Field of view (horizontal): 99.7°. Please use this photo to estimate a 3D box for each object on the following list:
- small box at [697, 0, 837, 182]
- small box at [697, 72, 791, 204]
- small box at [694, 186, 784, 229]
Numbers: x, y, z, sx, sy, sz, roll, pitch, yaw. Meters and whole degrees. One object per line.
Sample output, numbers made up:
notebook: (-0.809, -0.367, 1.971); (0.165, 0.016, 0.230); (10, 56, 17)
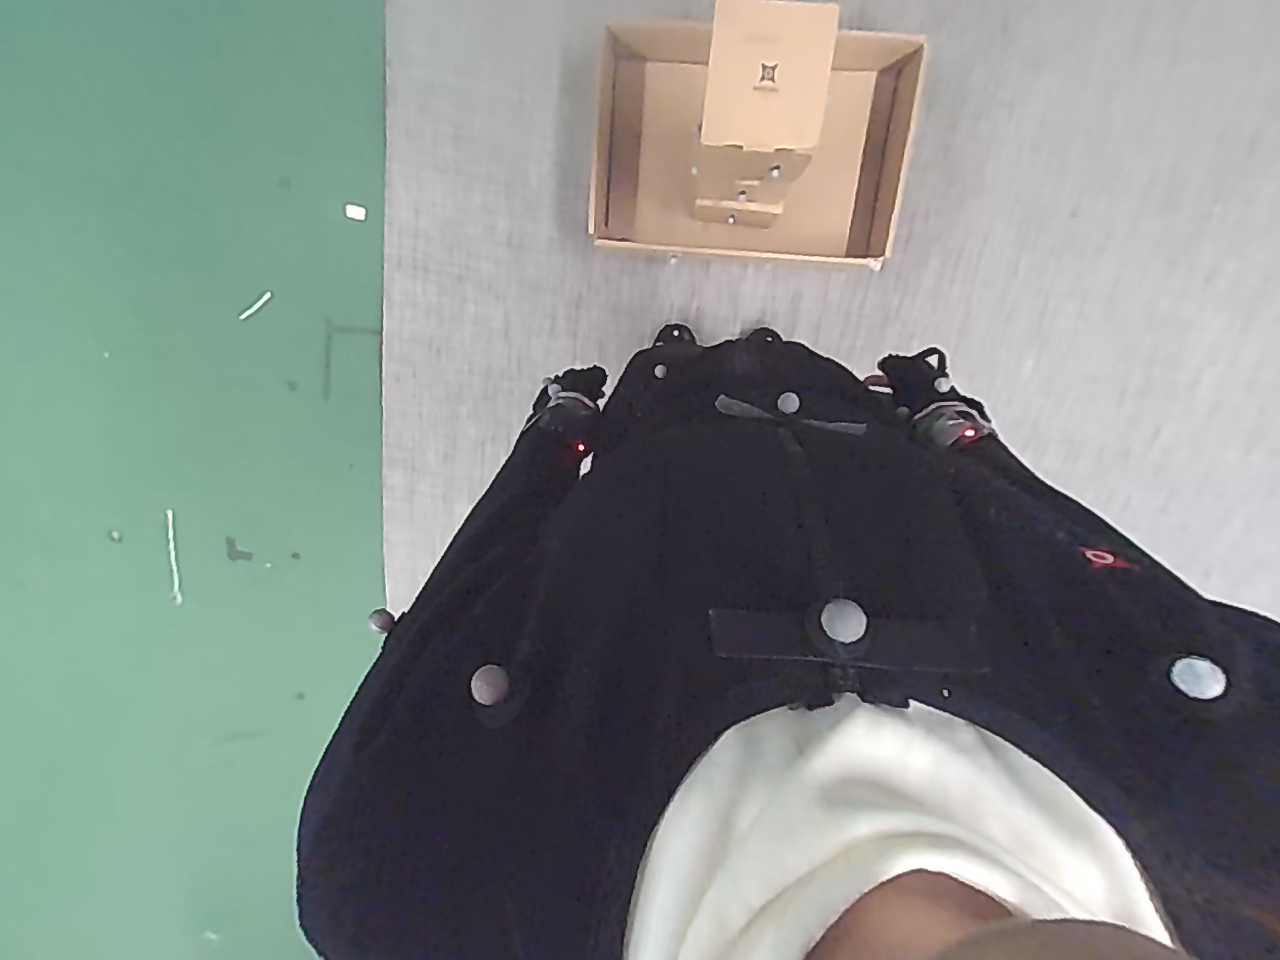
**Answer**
small box: (0.178, -0.567, 0.814); (0.168, 0.176, 0.179); (6, 105, 3)
small box: (0.194, -0.617, 0.989); (0.168, 0.176, 0.179); (4, 105, 5)
small box: (0.214, -0.643, 1.146); (0.179, 0.176, 0.168); (9, 105, 4)
